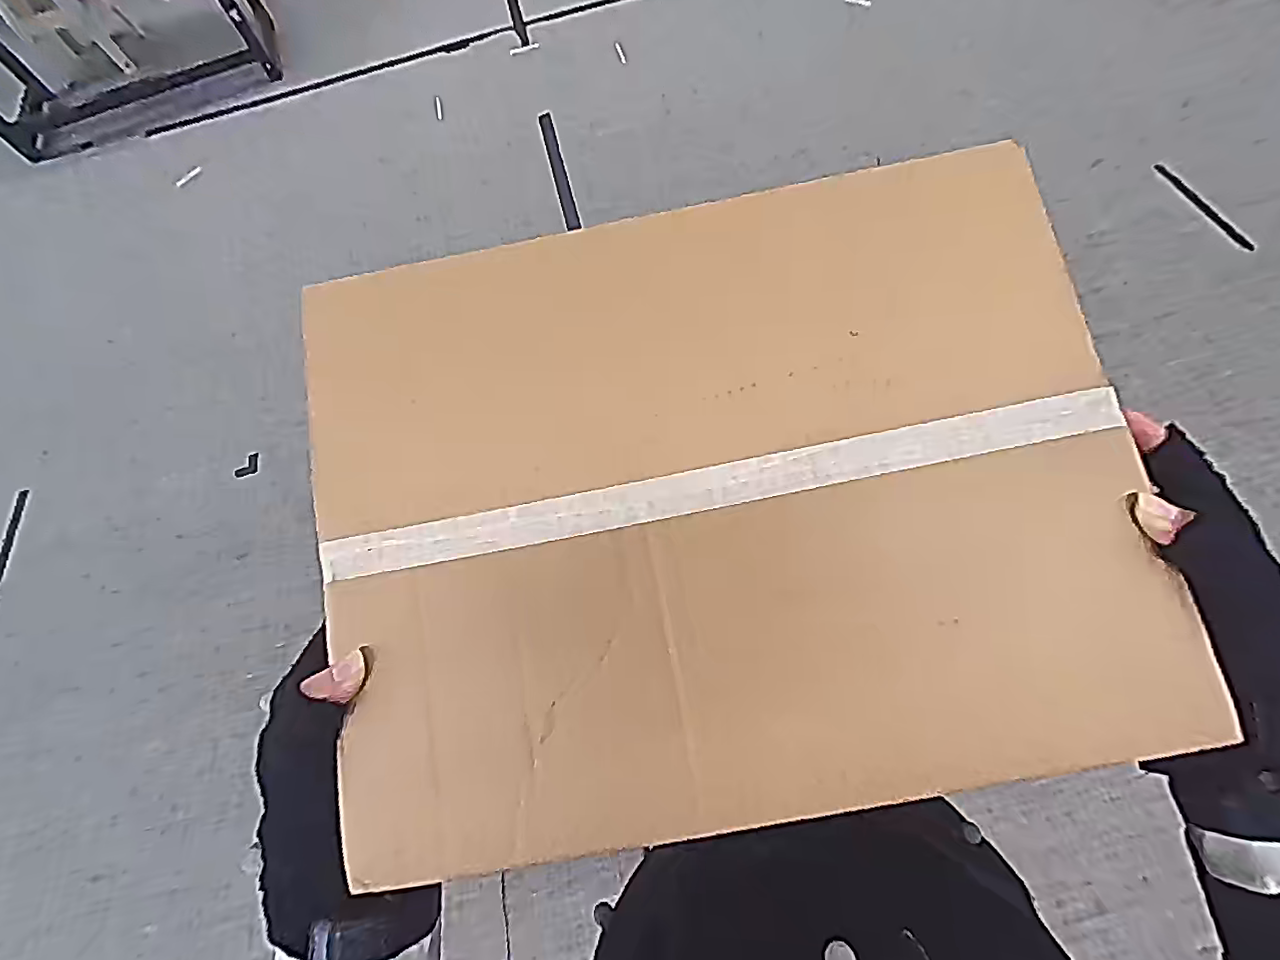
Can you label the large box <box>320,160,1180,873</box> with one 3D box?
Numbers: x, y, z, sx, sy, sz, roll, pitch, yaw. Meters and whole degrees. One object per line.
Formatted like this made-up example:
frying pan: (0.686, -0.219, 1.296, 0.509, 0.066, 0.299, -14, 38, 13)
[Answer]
large box: (0.045, 0.029, 0.431, 0.408, 0.320, 0.320, -11, 79, 2)
